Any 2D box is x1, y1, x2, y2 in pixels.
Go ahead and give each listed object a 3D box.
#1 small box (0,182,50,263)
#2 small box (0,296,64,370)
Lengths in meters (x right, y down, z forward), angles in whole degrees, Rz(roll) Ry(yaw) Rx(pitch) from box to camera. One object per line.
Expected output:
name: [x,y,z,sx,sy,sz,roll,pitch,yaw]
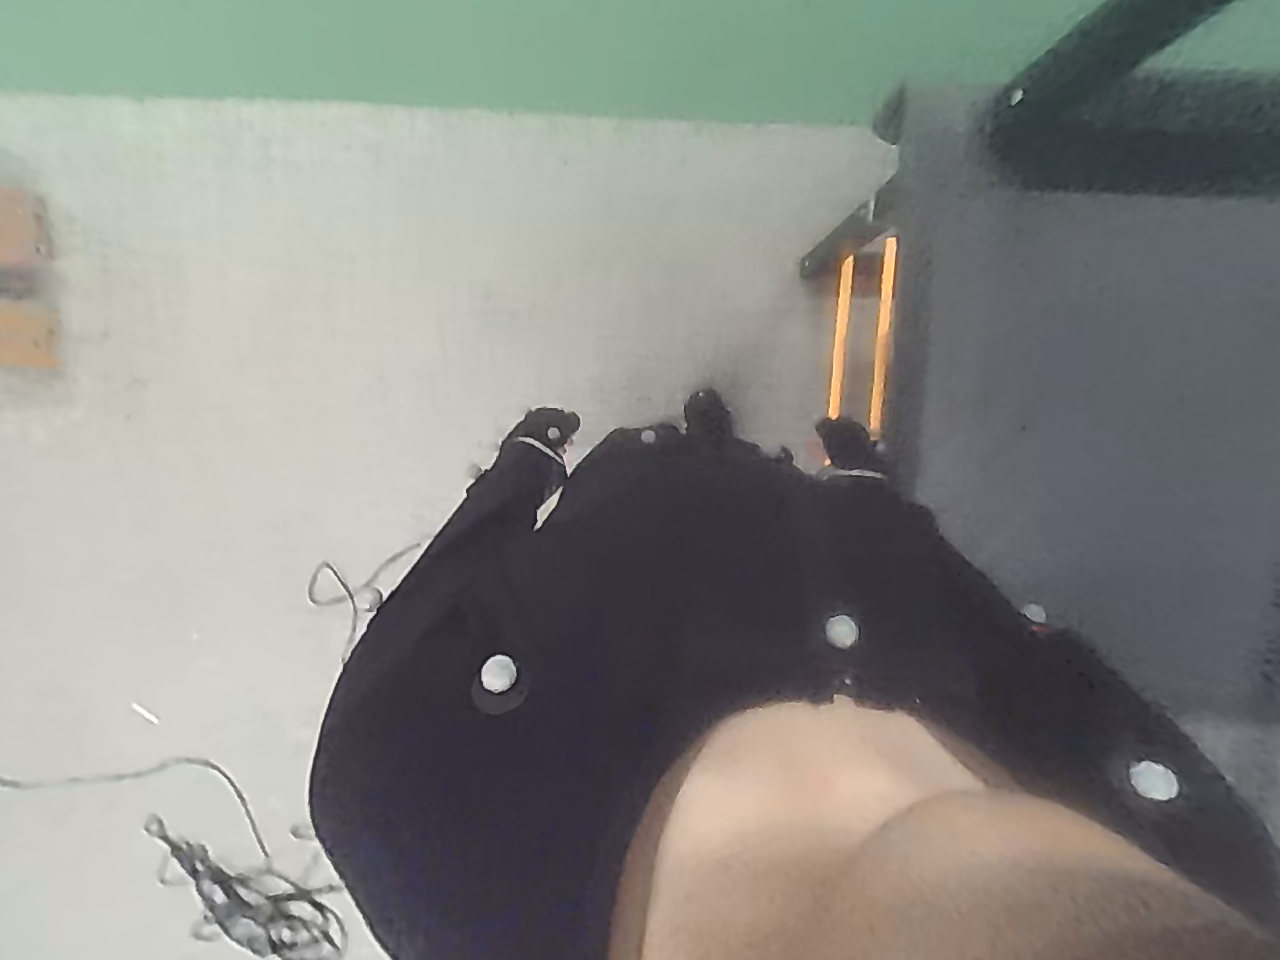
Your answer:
small box: [-1.595,-0.633,1.307,0.179,0.176,0.168,1,98,0]
small box: [-1.607,-0.367,1.344,0.179,0.176,0.168,4,97,-1]
